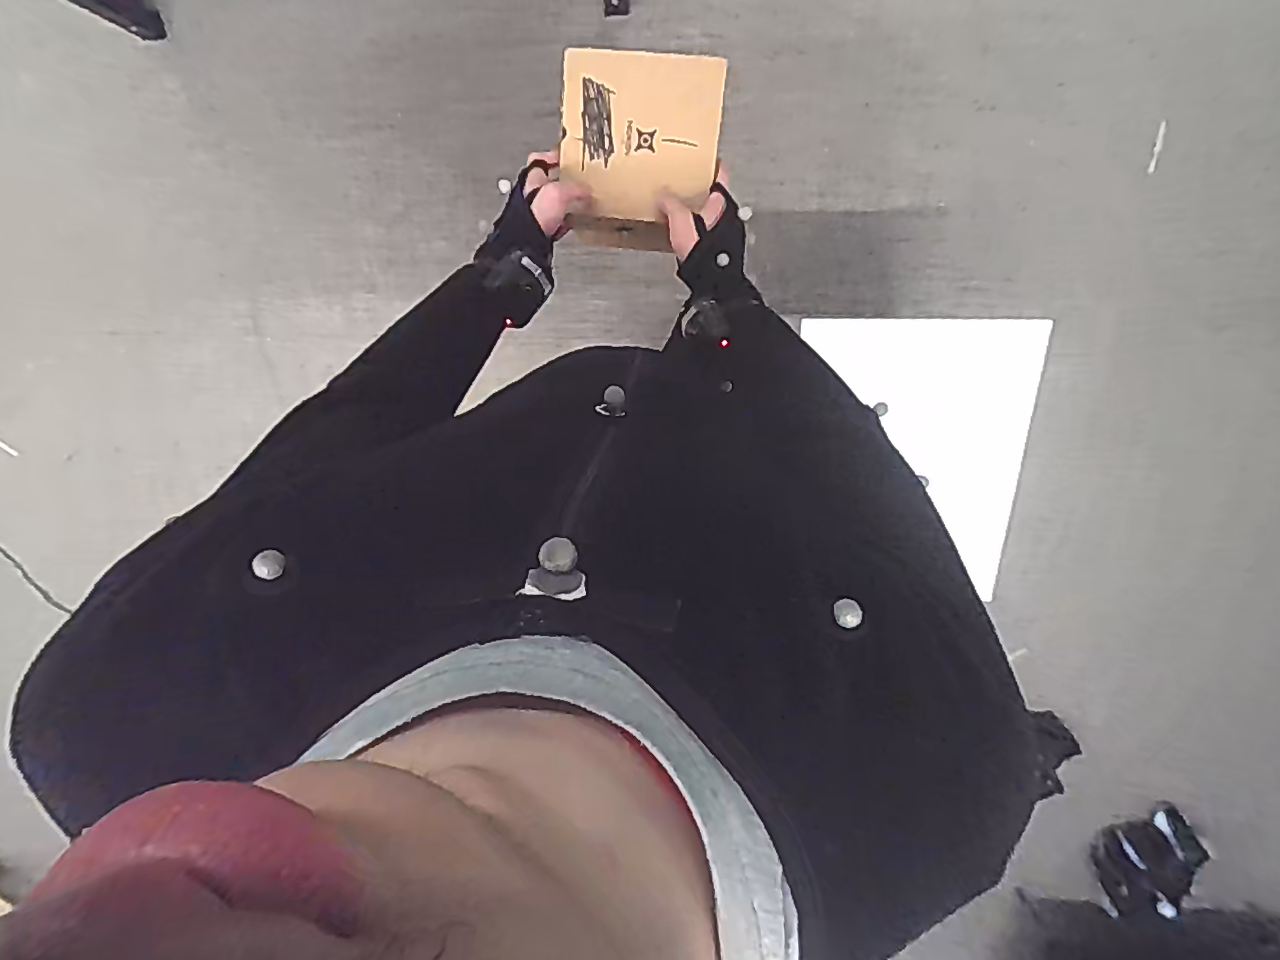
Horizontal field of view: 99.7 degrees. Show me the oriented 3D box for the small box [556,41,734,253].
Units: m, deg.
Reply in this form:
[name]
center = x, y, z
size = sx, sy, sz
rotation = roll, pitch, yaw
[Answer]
[small box]
center = 0.006, -0.378, 0.645
size = 0.179, 0.176, 0.168
rotation = 5, 102, 1
